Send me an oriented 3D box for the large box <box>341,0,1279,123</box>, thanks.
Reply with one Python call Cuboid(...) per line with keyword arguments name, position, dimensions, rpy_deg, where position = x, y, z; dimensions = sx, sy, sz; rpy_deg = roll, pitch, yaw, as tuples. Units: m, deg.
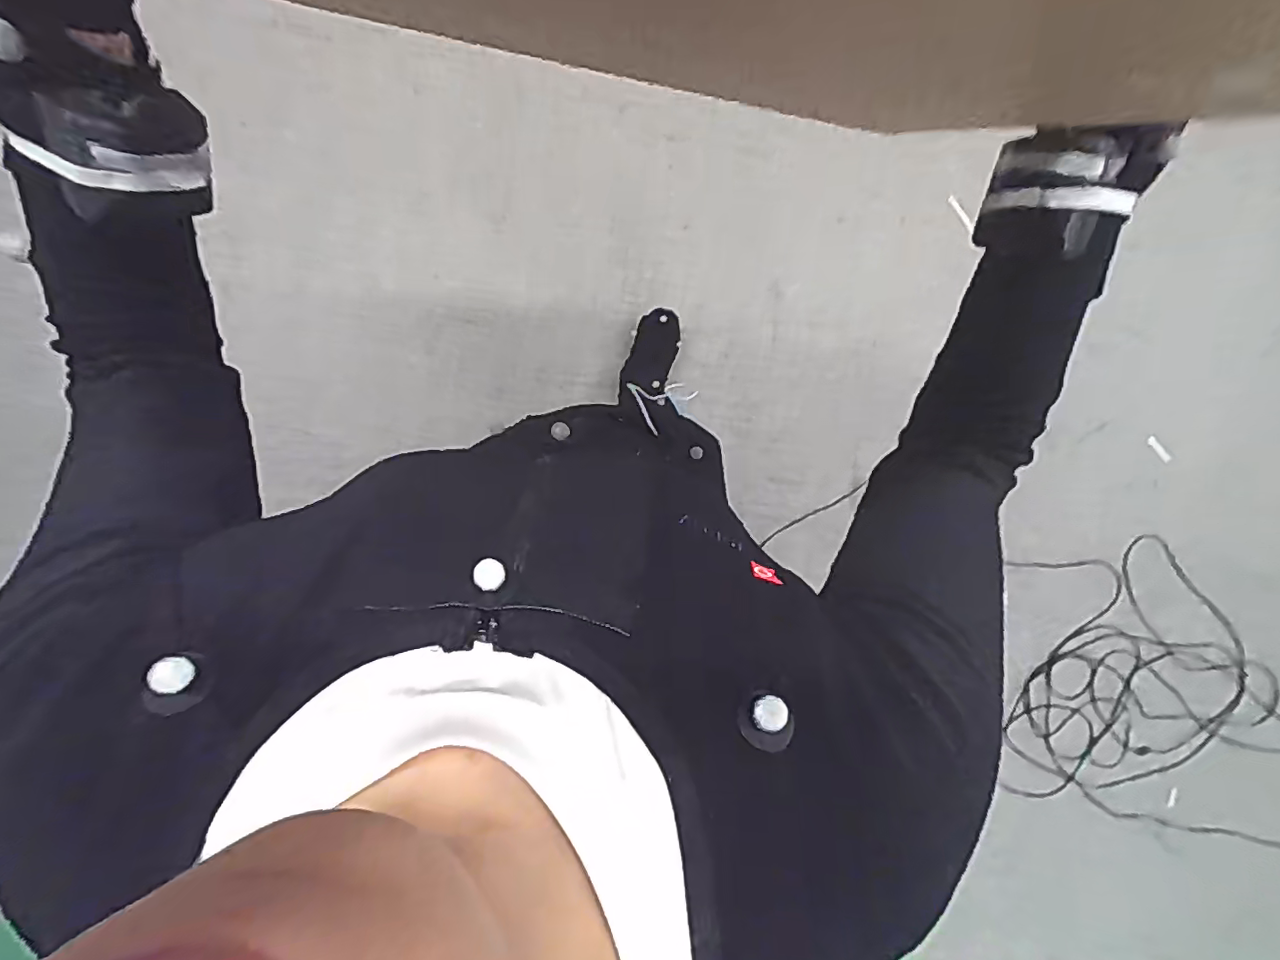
Cuboid(name="large box", position=(0.056, -0.310, 0.134), dimensions=(0.408, 0.320, 0.320), rpy_deg=(1, 121, -17))
